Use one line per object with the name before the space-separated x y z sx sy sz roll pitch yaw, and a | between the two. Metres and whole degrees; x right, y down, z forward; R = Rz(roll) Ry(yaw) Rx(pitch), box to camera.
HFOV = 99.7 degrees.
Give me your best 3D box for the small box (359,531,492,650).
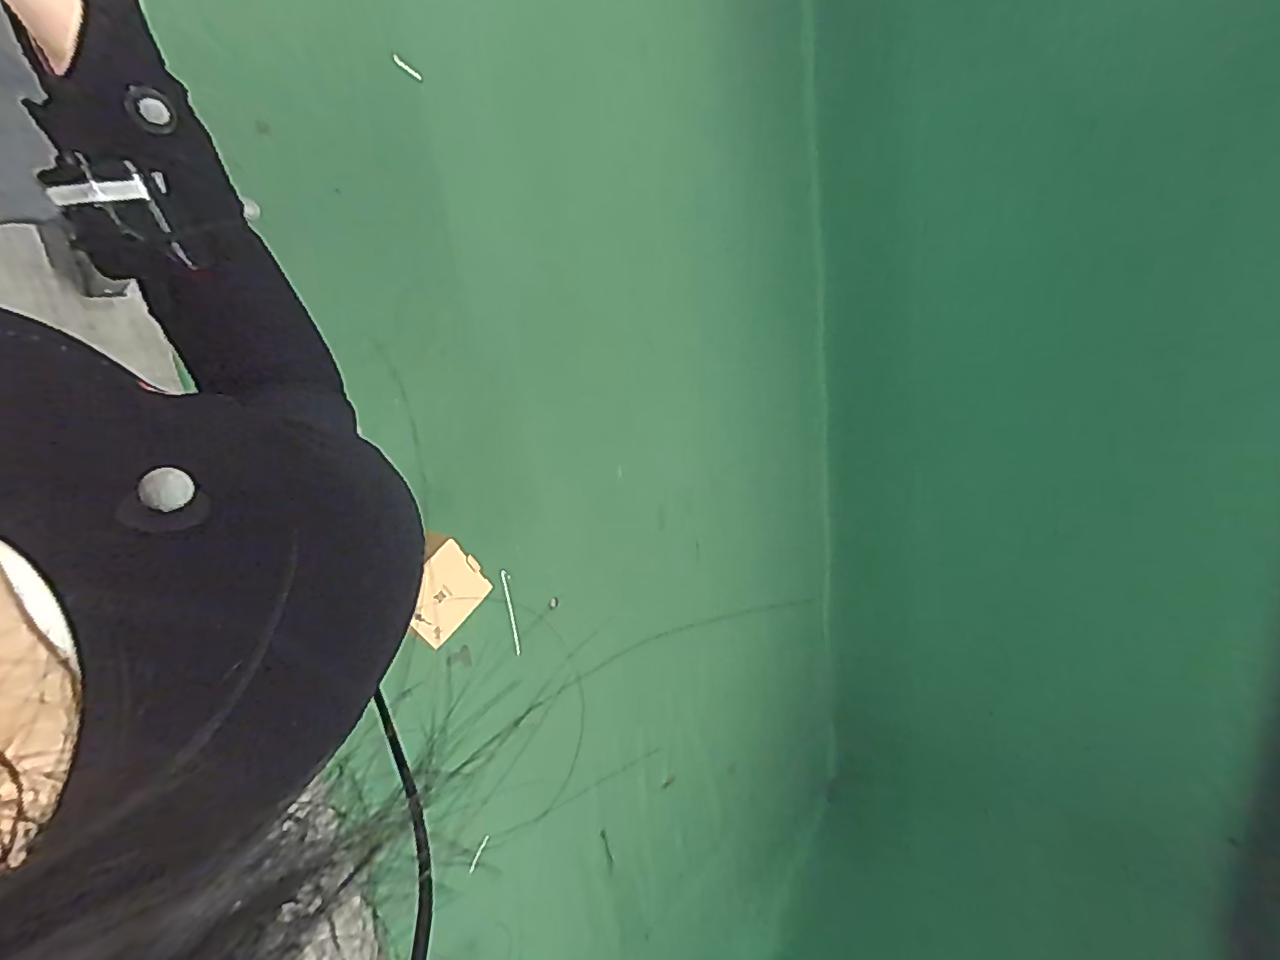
small box | -0.466 0.230 1.172 0.179 0.176 0.168 -50 128 -31
